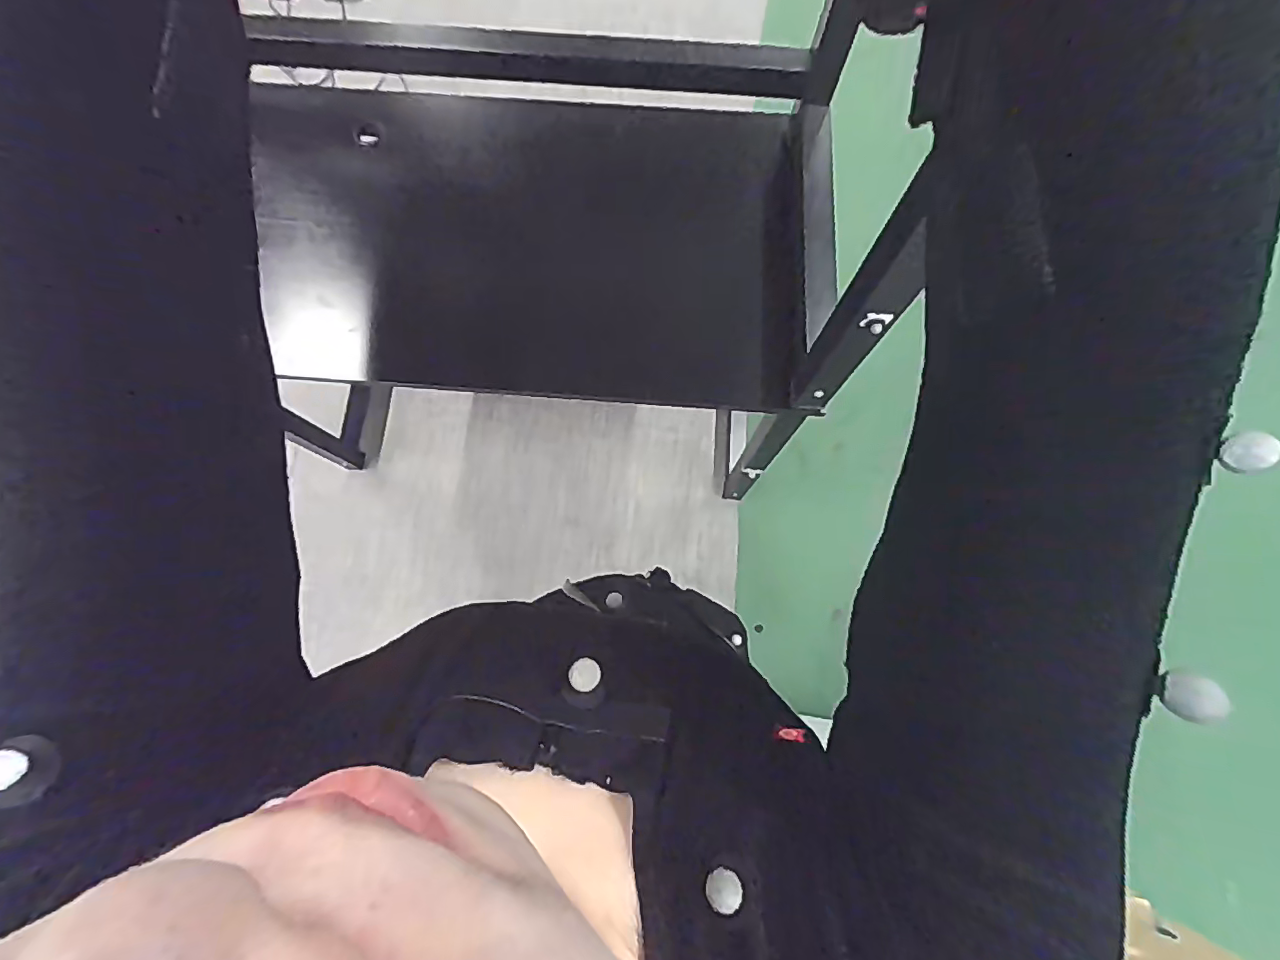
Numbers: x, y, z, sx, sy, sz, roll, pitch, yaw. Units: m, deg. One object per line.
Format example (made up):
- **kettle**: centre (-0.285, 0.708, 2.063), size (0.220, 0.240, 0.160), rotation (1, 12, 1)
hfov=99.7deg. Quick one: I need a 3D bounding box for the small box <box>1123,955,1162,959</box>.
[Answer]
- **small box**: centre (0.525, 0.521, 0.419), size (0.168, 0.176, 0.179), rotation (5, 77, 2)
